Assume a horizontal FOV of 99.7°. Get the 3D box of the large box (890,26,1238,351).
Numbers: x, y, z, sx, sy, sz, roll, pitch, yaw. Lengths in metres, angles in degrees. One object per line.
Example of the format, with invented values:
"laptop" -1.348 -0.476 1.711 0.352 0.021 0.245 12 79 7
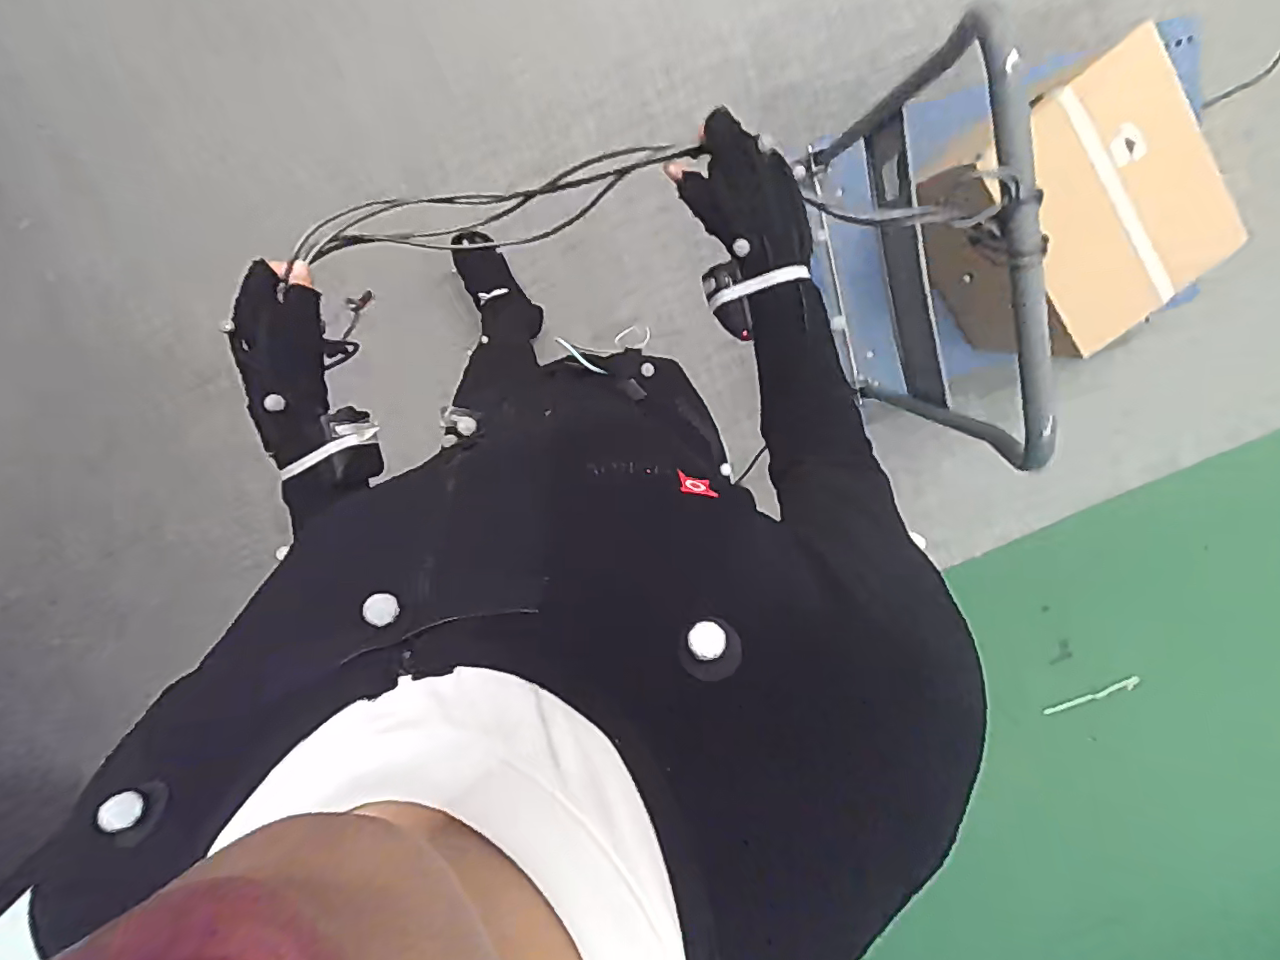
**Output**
"large box" 0.776 -0.506 1.043 0.320 0.320 0.408 -38 104 9
